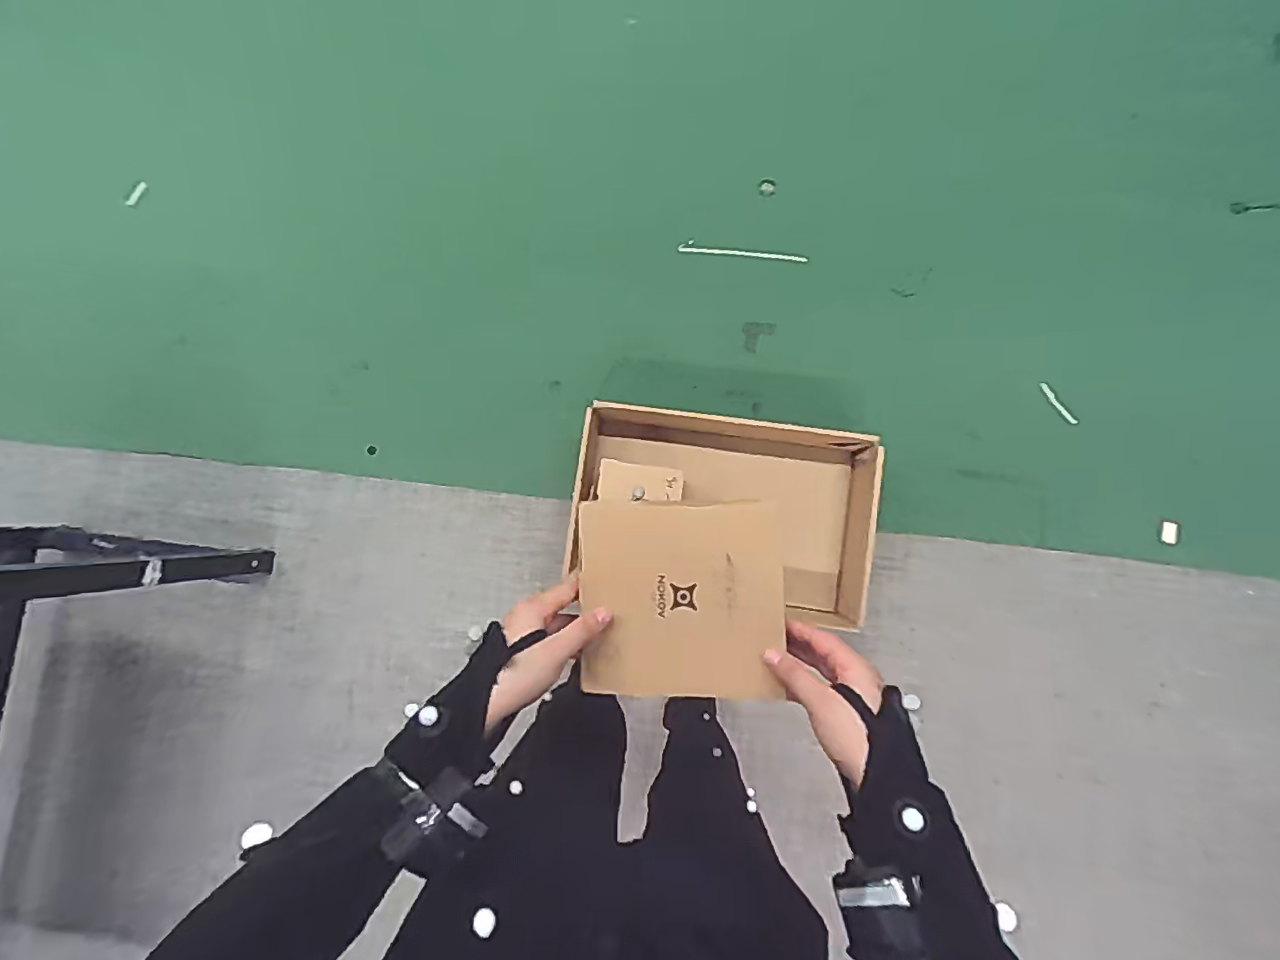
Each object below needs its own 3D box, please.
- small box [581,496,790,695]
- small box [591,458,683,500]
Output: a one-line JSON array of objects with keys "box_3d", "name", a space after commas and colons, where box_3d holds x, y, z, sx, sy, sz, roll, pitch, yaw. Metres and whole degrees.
[{"box_3d": [0.046, 0.101, 0.537, 0.179, 0.176, 0.168, -2, 87, 6], "name": "small box"}, {"box_3d": [-0.008, 0.056, 1.164, 0.179, 0.176, 0.168, 9, 87, 4], "name": "small box"}]
